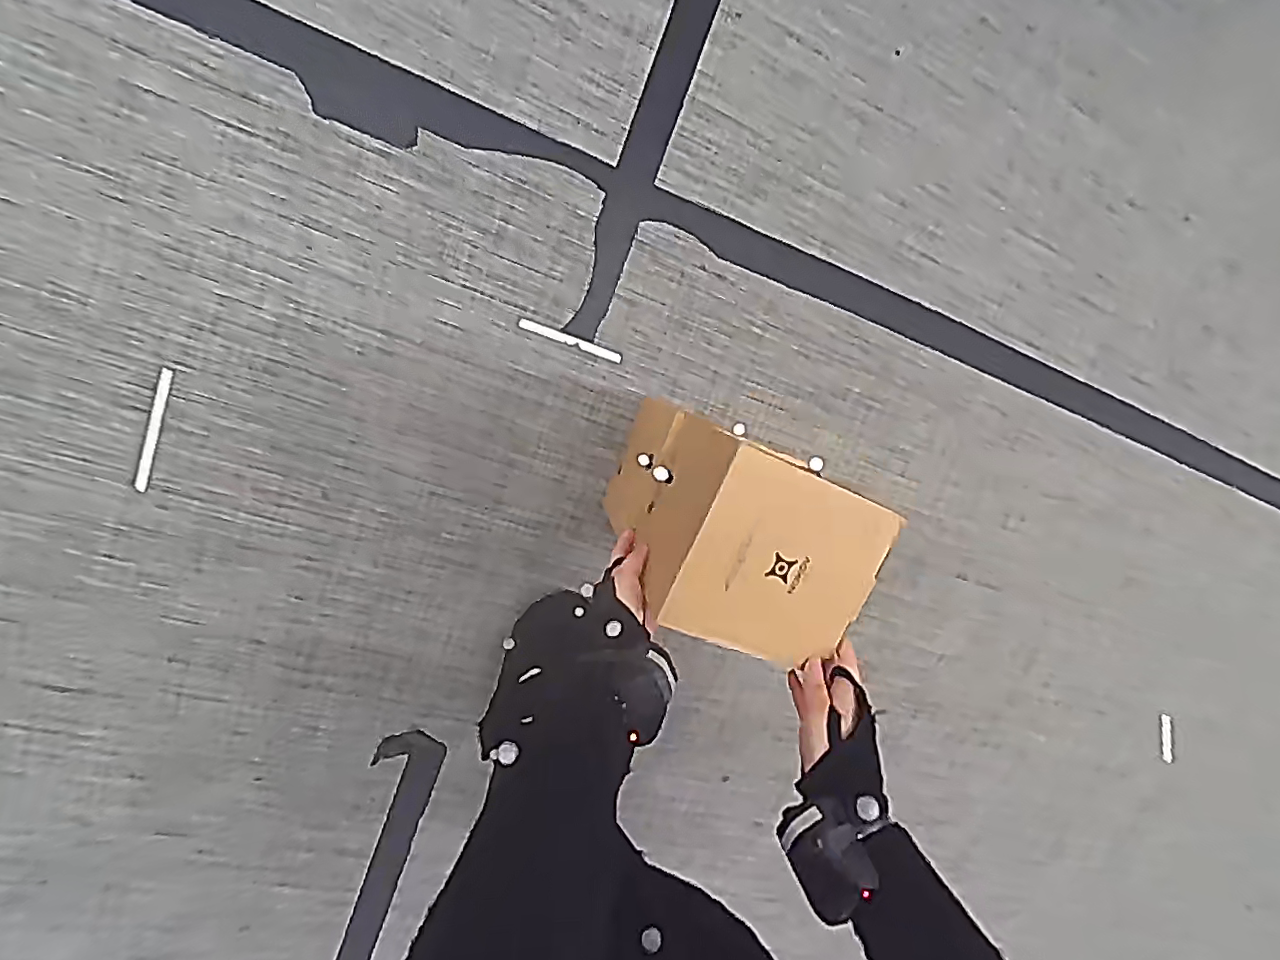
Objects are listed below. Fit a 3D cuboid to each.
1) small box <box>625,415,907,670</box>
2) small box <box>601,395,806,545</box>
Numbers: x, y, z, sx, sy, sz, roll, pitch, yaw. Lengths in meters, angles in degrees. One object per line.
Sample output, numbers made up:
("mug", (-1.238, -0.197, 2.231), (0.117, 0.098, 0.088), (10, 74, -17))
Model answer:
("small box", (0.104, 0.048, 0.525), (0.179, 0.176, 0.168), (23, 99, -16))
("small box", (0.068, 0.002, 0.679), (0.179, 0.176, 0.168), (20, 100, -17))
